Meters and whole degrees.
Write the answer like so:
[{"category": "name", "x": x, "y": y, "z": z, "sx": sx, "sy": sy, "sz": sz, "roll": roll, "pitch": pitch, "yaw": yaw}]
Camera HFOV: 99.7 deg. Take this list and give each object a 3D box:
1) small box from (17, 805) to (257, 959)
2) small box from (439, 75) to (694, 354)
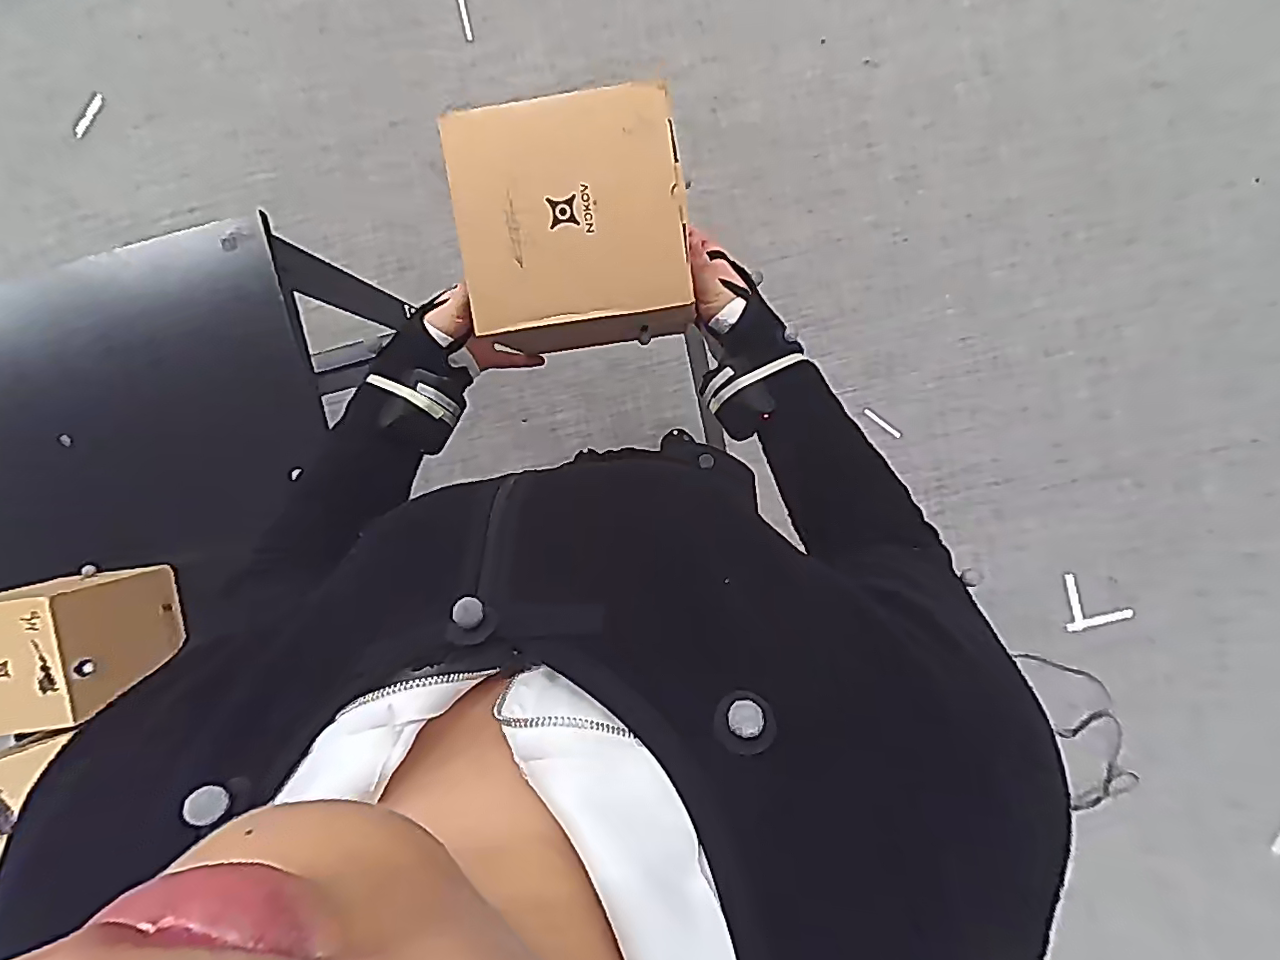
[{"category": "small box", "x": -0.677, "y": 0.587, "z": 0.755, "sx": 0.179, "sy": 0.176, "sz": 0.168, "roll": -10, "pitch": 92, "yaw": 4}, {"category": "small box", "x": -0.051, "y": -0.216, "z": 0.489, "sx": 0.179, "sy": 0.176, "sz": 0.168, "roll": -8, "pitch": 96, "yaw": 5}]
